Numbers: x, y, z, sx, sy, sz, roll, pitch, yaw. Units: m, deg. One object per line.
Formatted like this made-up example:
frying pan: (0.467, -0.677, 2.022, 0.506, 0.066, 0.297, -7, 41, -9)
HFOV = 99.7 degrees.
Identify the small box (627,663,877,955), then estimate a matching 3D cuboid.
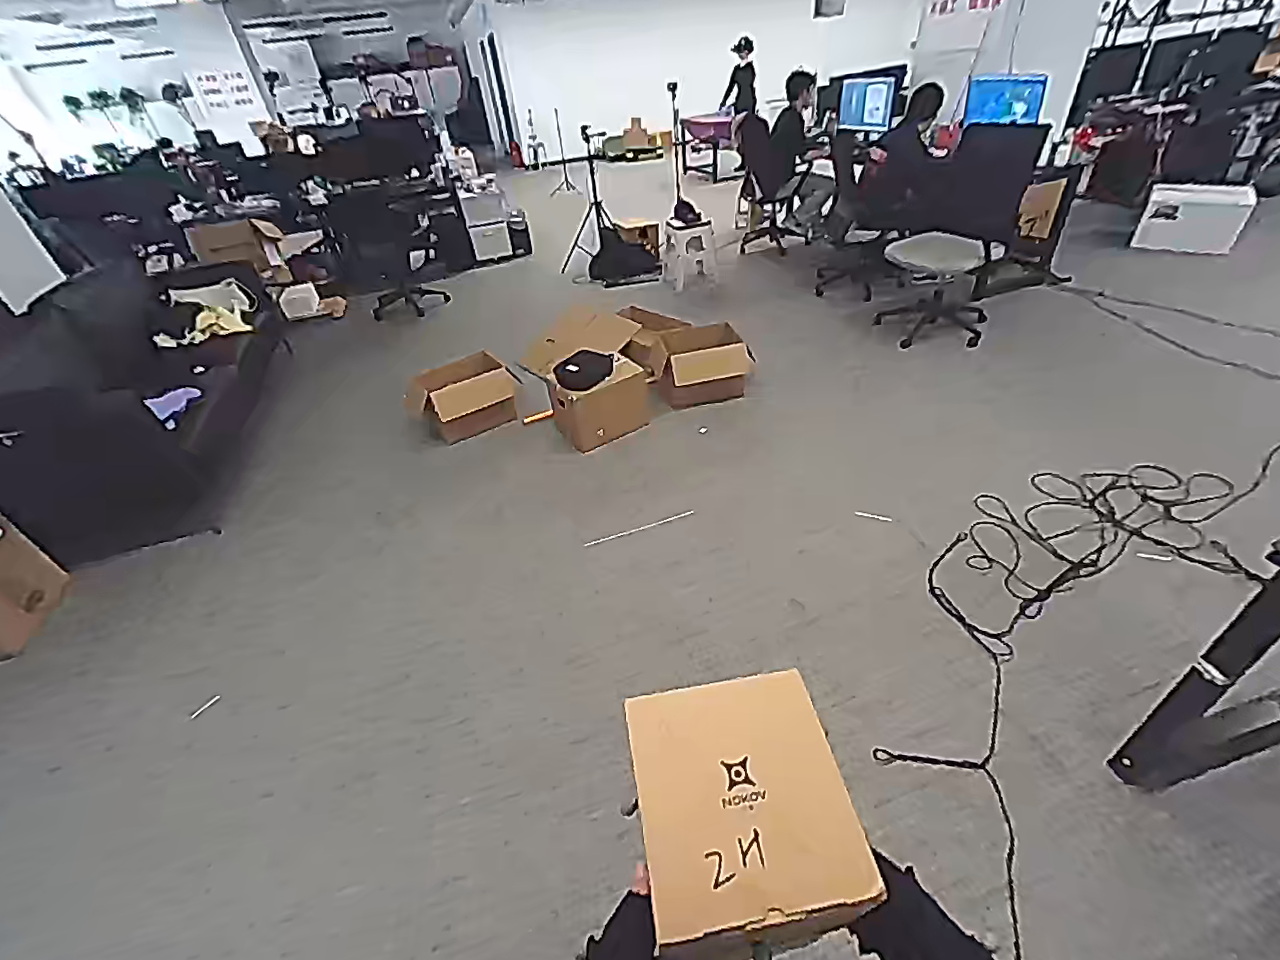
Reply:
small box: (0.081, 0.297, 0.493, 0.168, 0.176, 0.179, -8, 44, -4)
